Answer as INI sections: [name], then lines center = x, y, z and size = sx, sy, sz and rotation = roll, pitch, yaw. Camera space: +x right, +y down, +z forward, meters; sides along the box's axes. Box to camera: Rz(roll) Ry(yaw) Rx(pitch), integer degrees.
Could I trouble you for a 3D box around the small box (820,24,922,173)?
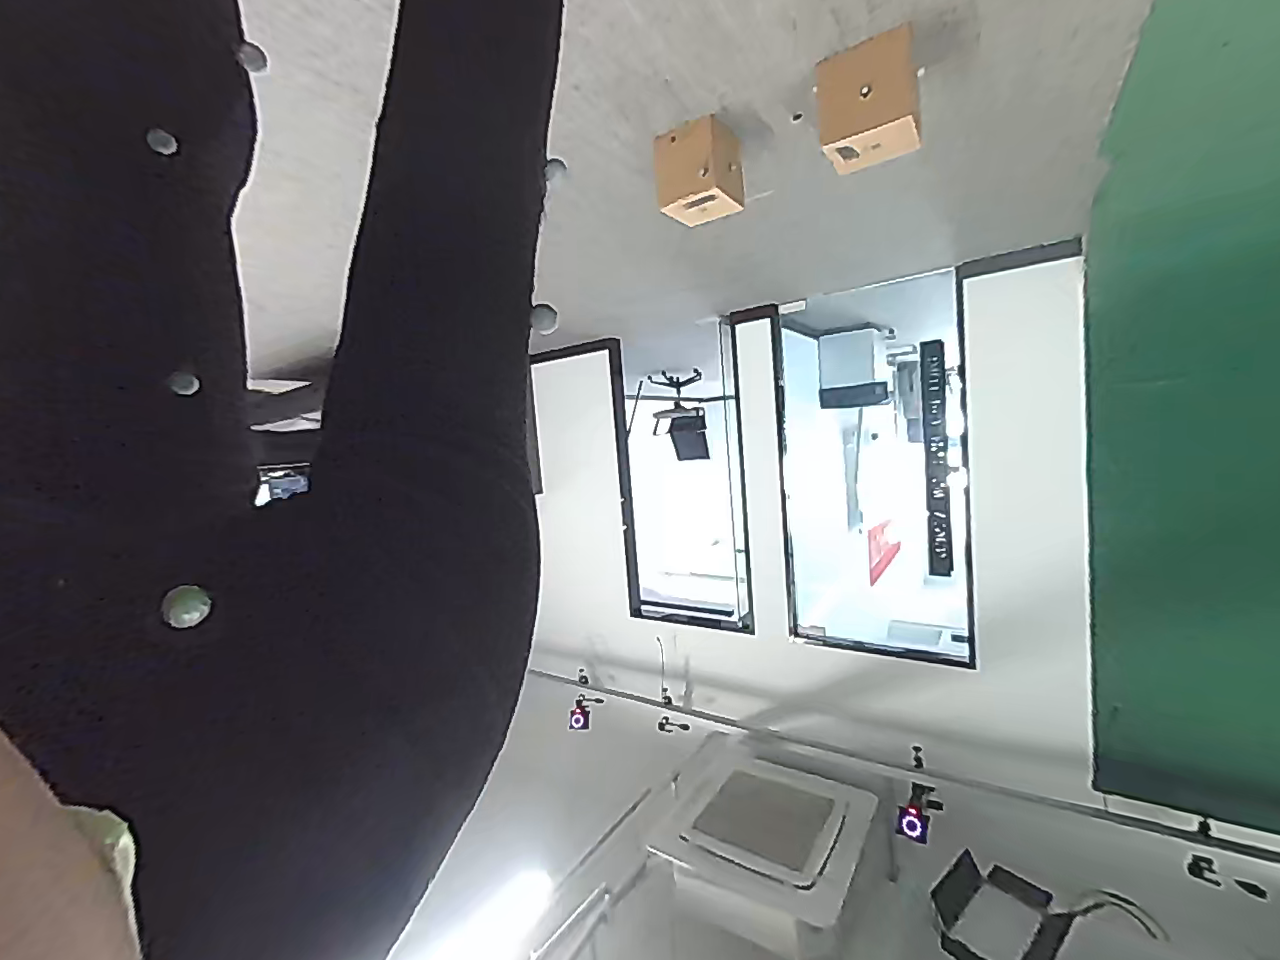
[small box]
center = 0.481, -0.784, 1.127
size = 0.179, 0.176, 0.168
rotation = -3, -175, 33
